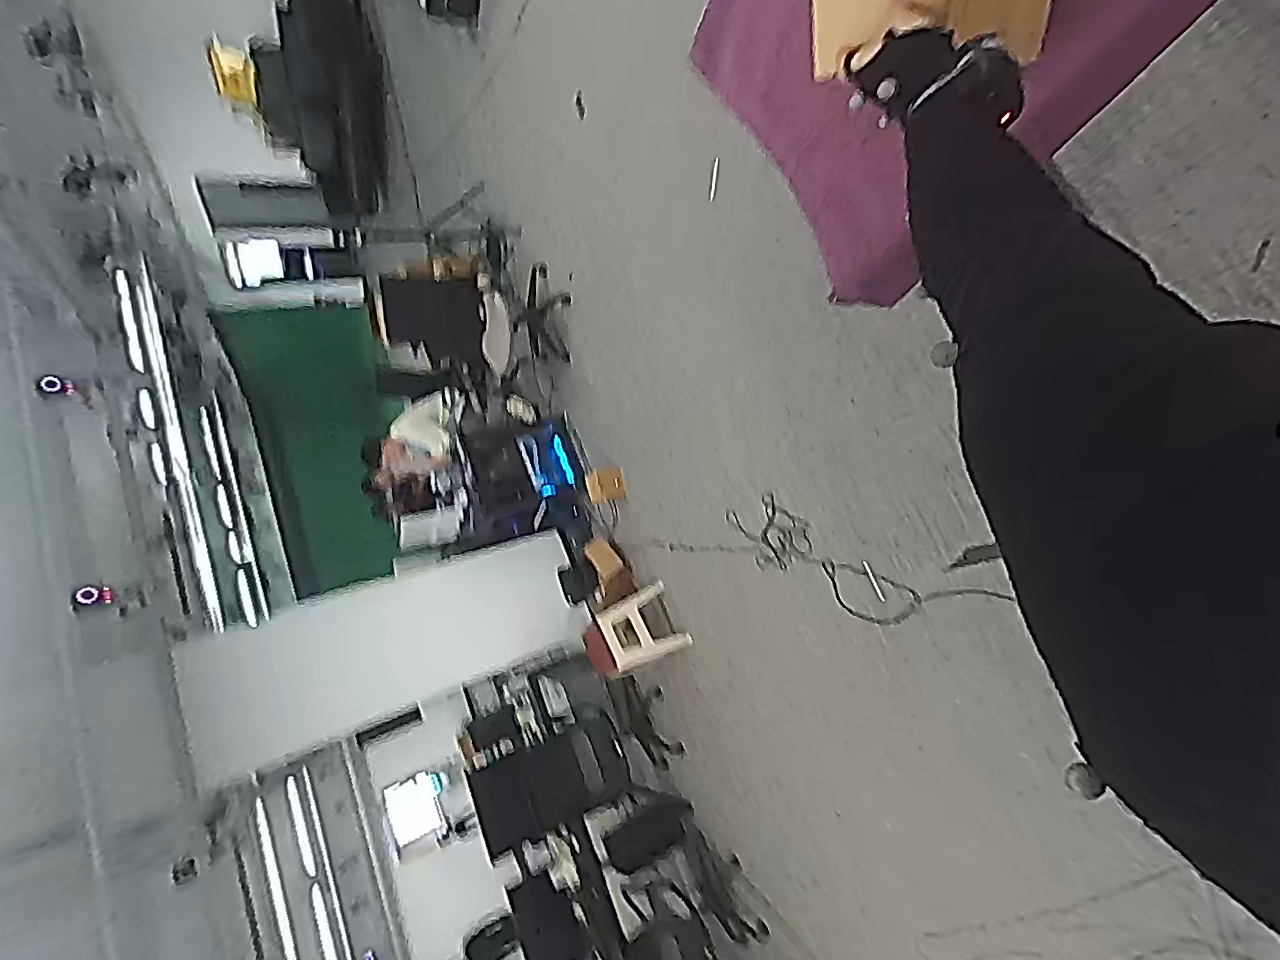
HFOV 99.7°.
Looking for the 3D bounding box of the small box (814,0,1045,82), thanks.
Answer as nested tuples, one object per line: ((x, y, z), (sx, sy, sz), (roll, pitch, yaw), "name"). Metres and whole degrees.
((0.315, -0.547, 0.575), (0.168, 0.176, 0.179), (39, 139, 52), "small box")
